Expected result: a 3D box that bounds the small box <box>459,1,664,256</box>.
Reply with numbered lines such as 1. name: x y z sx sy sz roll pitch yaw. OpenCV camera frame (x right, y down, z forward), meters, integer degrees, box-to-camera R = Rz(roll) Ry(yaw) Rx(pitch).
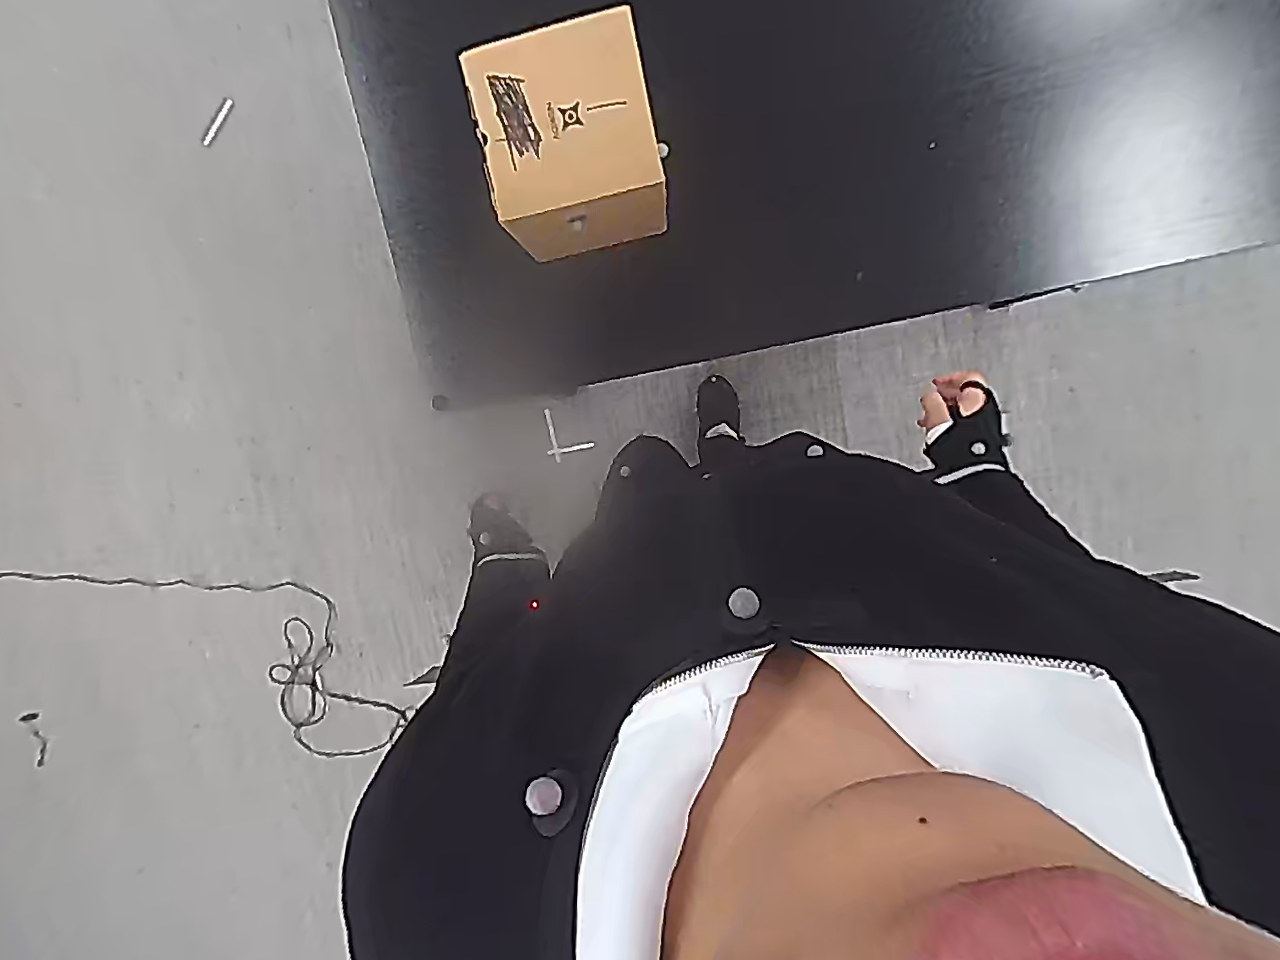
1. small box: -0.073 -0.371 0.609 0.179 0.176 0.168 -12 98 5
